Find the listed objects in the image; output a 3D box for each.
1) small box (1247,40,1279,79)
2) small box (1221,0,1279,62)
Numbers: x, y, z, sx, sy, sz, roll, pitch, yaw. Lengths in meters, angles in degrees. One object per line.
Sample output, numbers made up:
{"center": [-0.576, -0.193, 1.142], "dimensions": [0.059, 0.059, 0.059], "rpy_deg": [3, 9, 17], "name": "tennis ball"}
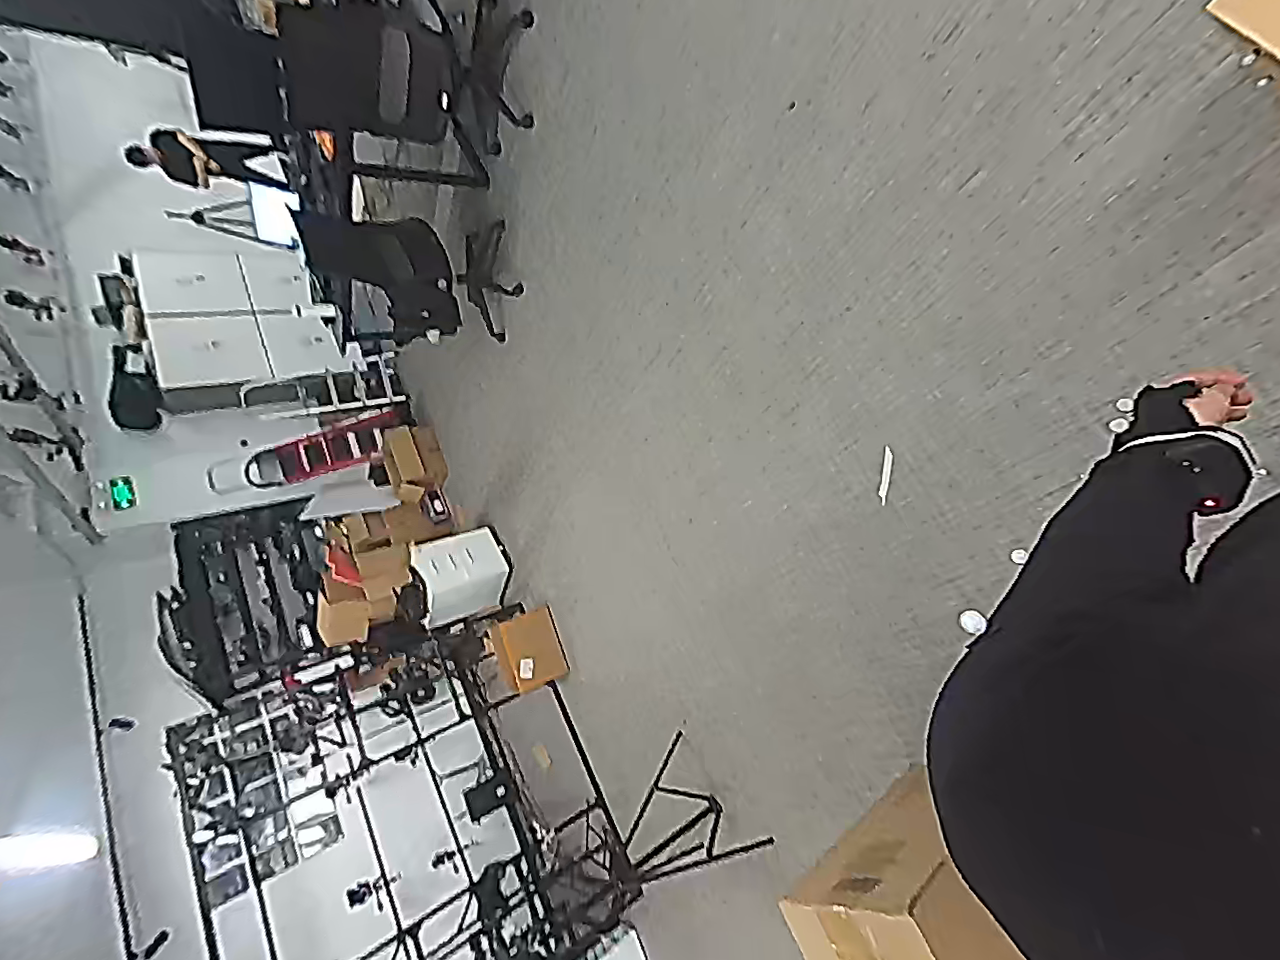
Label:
{"center": [0.948, -0.605, 0.699], "dimensions": [0.179, 0.176, 0.168], "rpy_deg": [61, 143, 17], "name": "small box"}
{"center": [0.818, -0.569, 0.604], "dimensions": [0.179, 0.176, 0.168], "rpy_deg": [60, 143, 18], "name": "small box"}
